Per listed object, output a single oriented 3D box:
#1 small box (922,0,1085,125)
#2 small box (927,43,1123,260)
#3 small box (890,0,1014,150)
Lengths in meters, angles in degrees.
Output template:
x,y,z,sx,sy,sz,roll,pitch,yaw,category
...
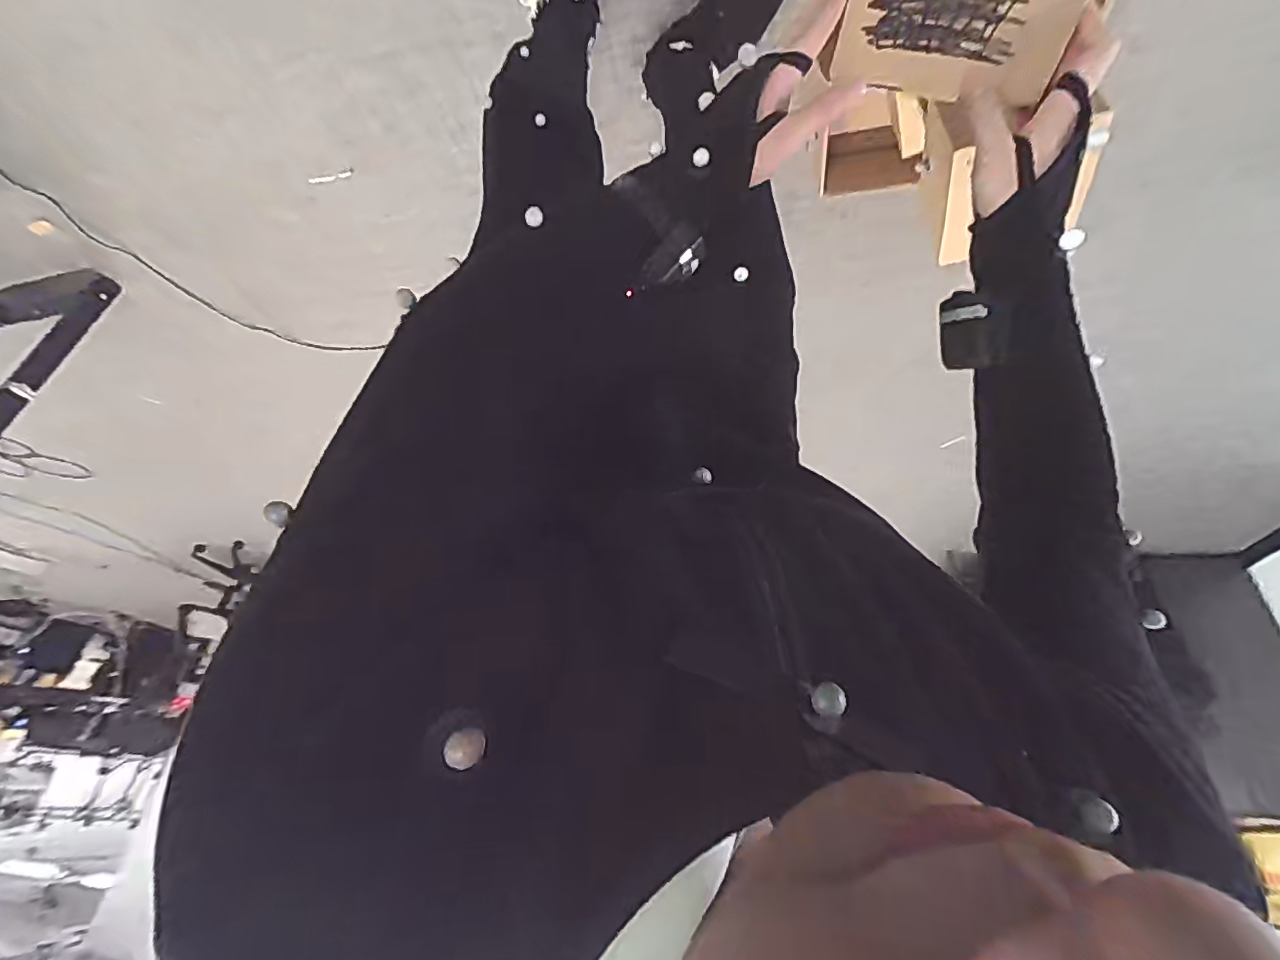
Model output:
x,y,z,sx,sy,sz,roll,pitch,yaw,category
0.547,-0.582,0.823,0.179,0.176,0.168,-18,141,34,small box
0.505,-0.443,0.743,0.168,0.176,0.179,-5,148,19,small box
0.533,-0.715,0.921,0.179,0.176,0.168,-11,145,26,small box
